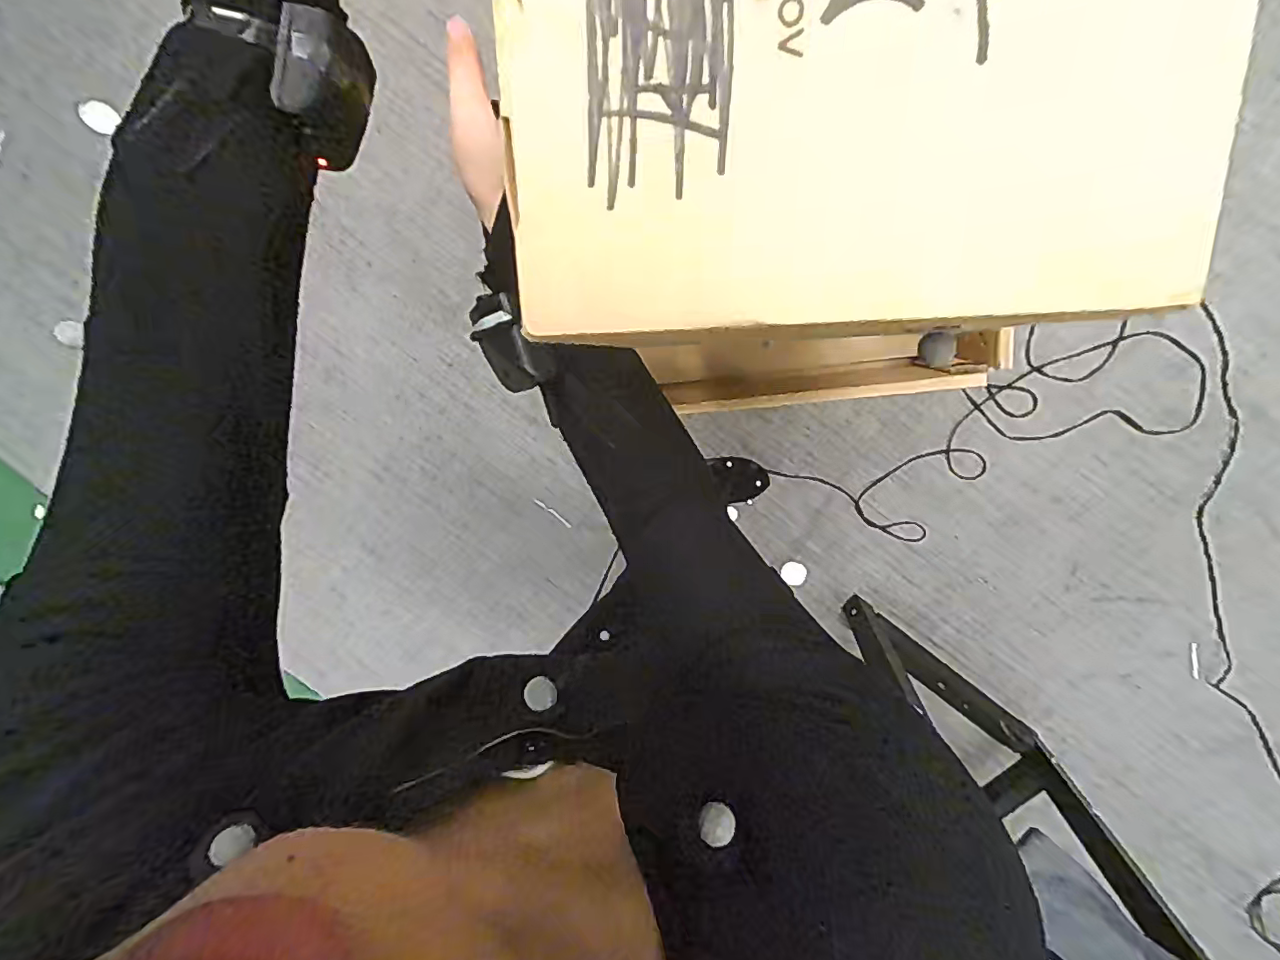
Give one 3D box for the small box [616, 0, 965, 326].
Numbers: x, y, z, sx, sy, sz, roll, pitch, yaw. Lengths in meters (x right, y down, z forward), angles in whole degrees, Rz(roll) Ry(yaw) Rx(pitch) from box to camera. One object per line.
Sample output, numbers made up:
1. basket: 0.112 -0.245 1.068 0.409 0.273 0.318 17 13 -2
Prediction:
1. small box: 0.092 -0.199 0.366 0.179 0.176 0.168 -3 102 12
